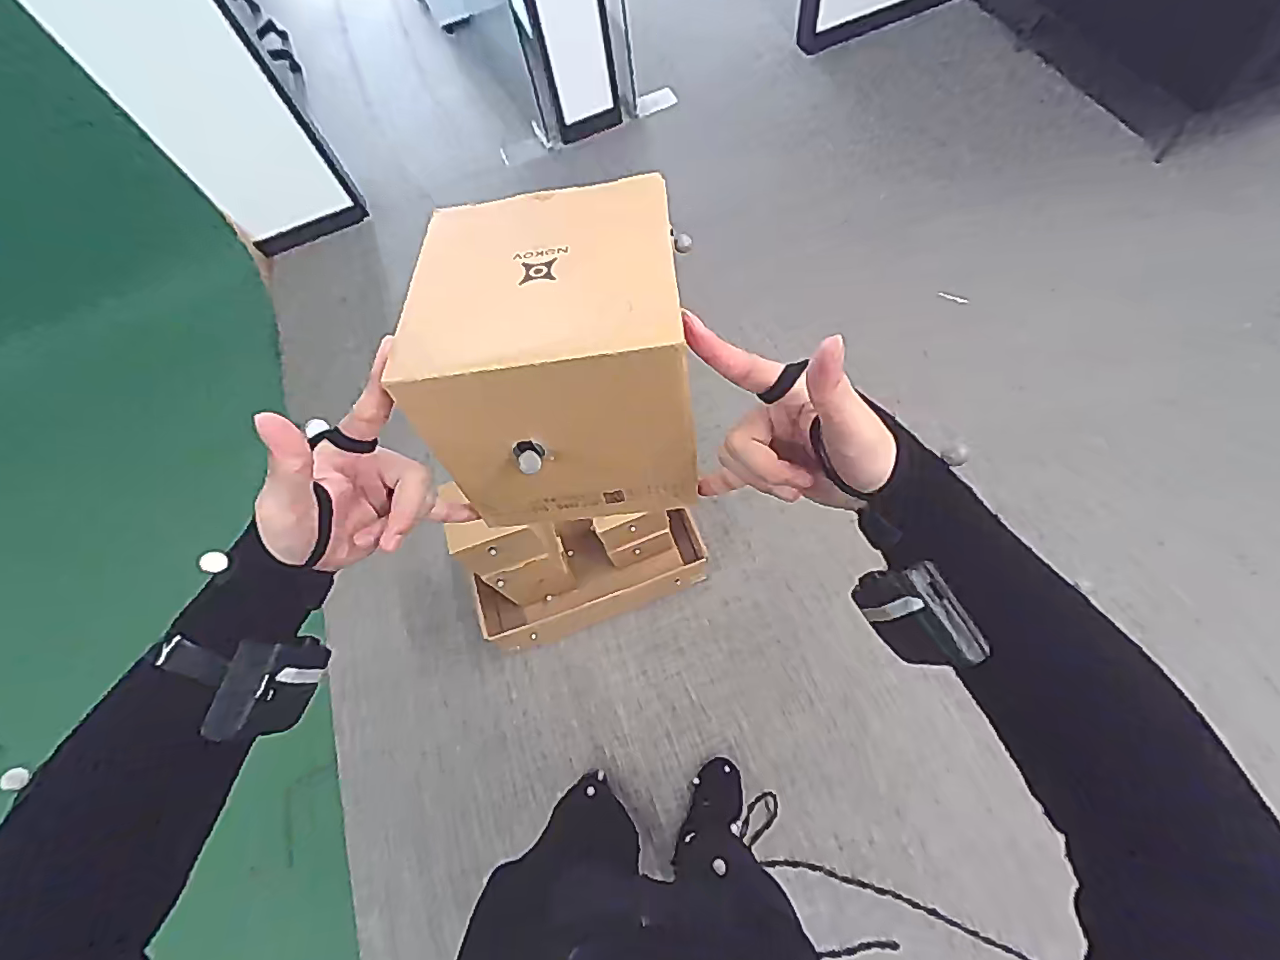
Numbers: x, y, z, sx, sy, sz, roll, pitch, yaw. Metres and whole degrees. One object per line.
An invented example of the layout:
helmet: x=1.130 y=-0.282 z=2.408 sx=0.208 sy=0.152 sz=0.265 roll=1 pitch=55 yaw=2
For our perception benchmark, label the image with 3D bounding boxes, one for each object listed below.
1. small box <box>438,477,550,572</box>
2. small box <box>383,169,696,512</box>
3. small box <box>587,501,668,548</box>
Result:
small box: x=-0.319 y=0.087 z=1.199 sx=0.179 sy=0.176 sz=0.168 roll=-19 pitch=64 yaw=-2
small box: x=-0.052 y=-0.088 z=0.396 sx=0.168 sy=0.176 sz=0.179 roll=-7 pitch=54 yaw=5
small box: x=-0.039 y=0.054 z=1.361 sx=0.179 sy=0.176 sz=0.168 roll=-22 pitch=67 yaw=-2
